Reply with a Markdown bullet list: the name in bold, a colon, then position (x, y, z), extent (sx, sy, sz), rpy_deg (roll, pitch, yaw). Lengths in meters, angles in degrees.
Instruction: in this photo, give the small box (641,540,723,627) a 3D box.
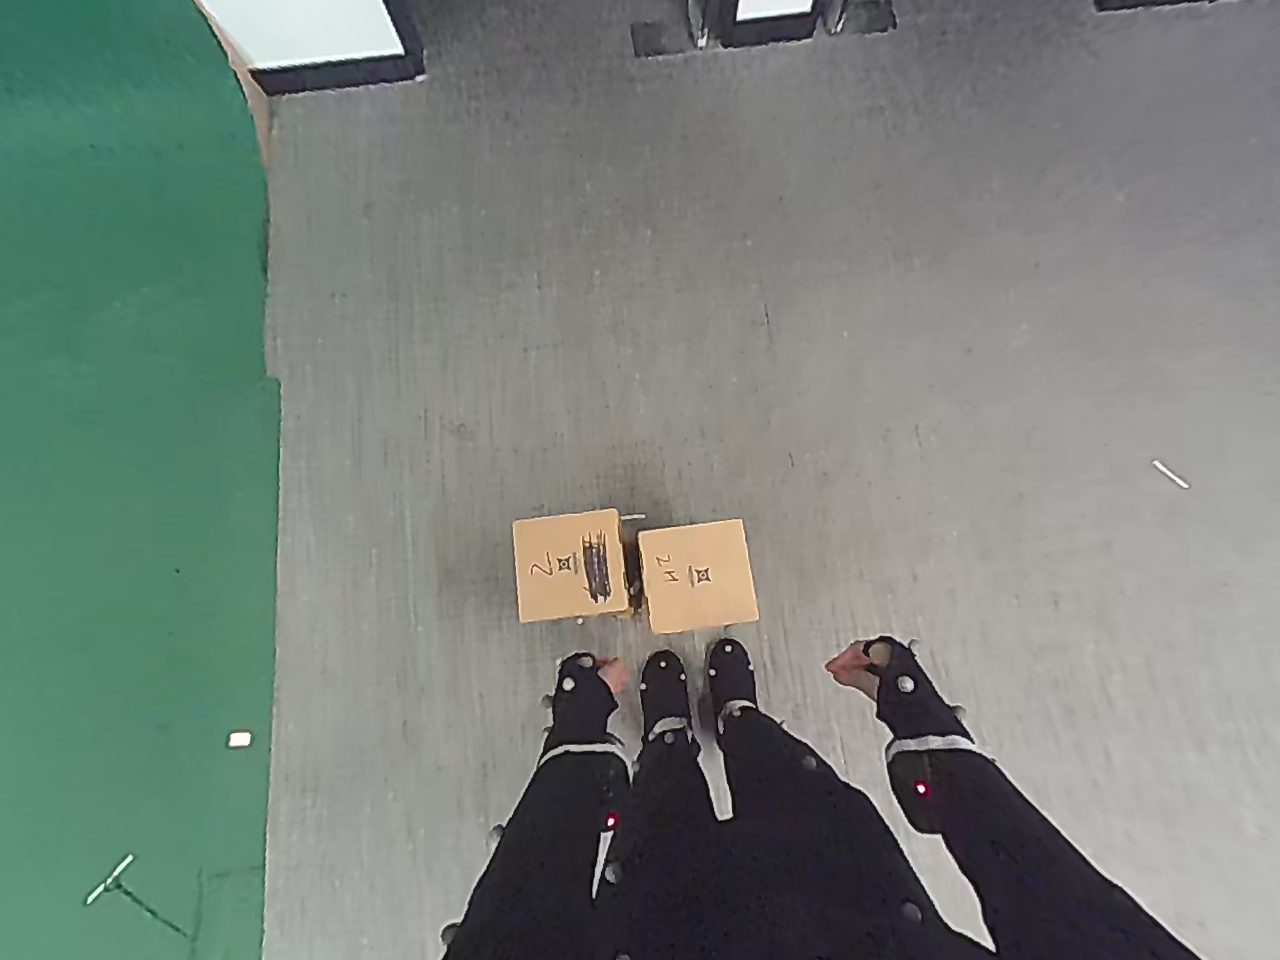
- **small box**: position (0.091, 0.241, 1.261), extent (0.168, 0.176, 0.179), rpy_deg (-6, 79, -1)
